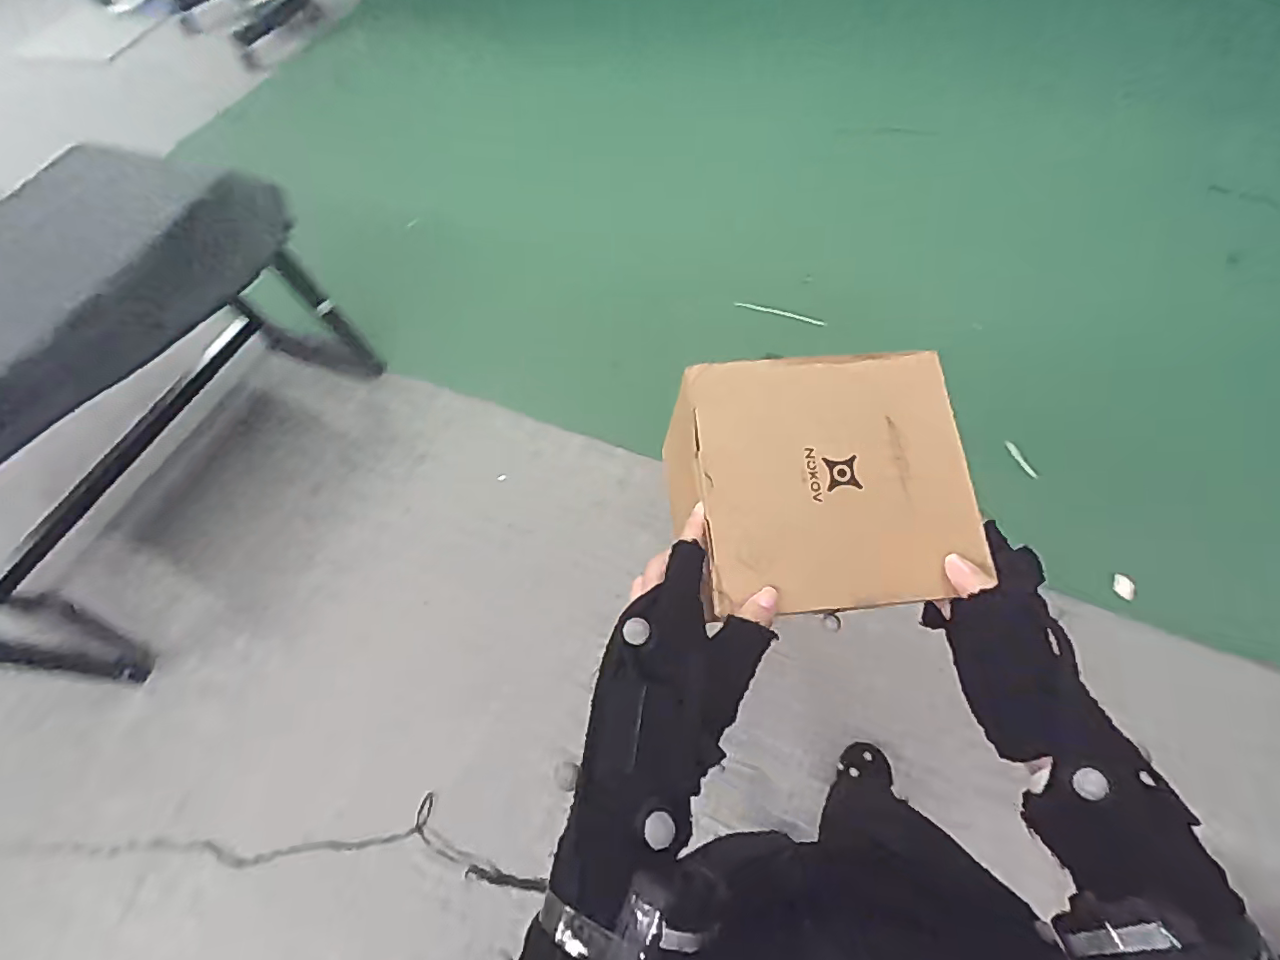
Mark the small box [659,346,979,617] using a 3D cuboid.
[{"bbox_3d":[0.112,0.014,0.426,0.179,0.176,0.168,-6,75,-6],"label":"small box"}]
